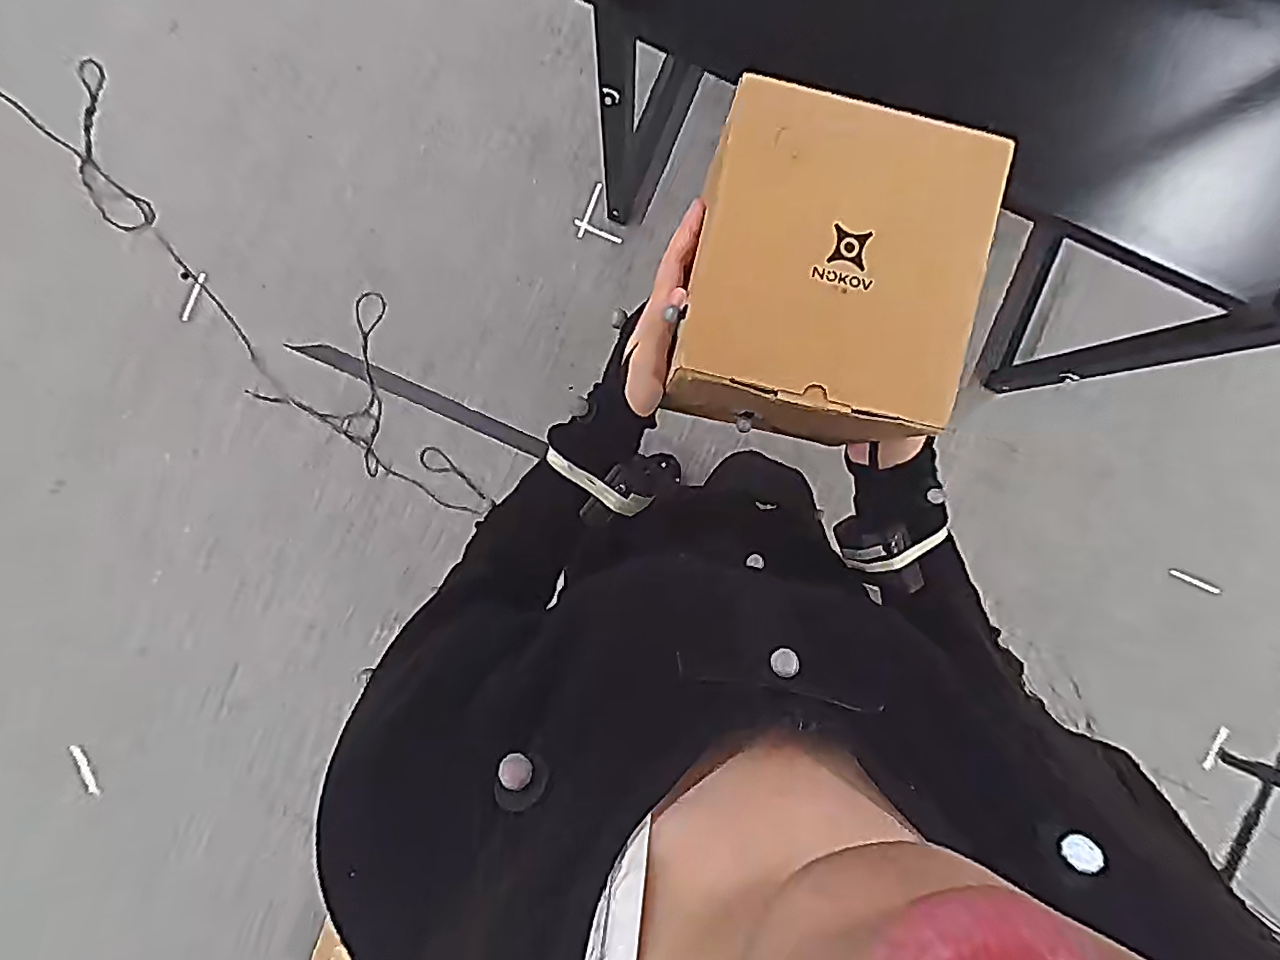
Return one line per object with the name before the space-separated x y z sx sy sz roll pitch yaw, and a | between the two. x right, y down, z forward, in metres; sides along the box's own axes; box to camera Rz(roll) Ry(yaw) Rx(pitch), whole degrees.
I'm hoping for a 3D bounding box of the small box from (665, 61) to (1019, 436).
small box | 0.117 -0.134 0.385 0.168 0.176 0.179 11 92 -3
